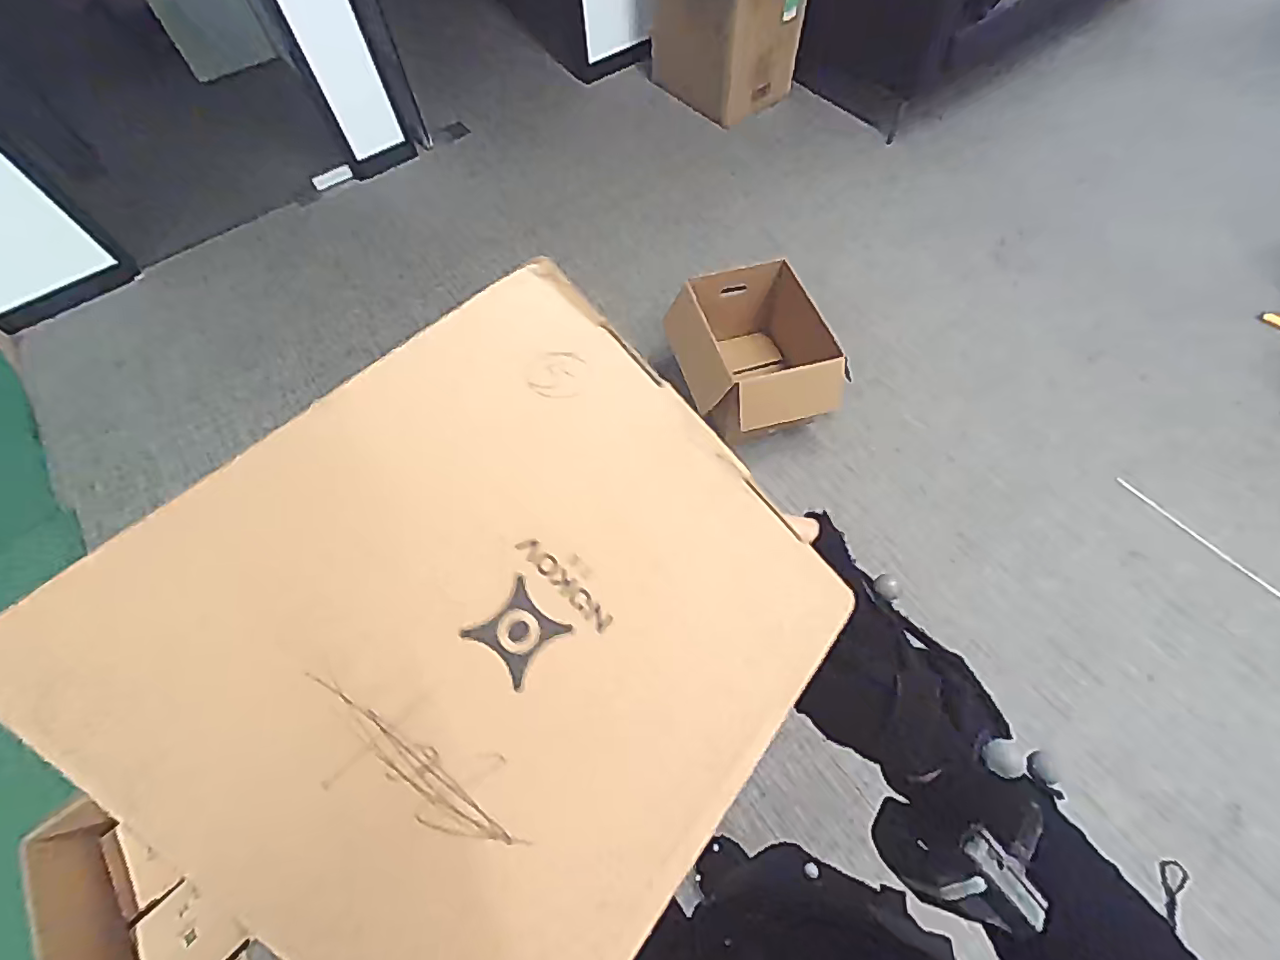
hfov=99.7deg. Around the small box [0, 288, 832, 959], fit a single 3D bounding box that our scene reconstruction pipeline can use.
[{"bbox_3d":[-0.065,0.062,0.231,0.168,0.176,0.179,48,66,-6],"label":"small box"}]
